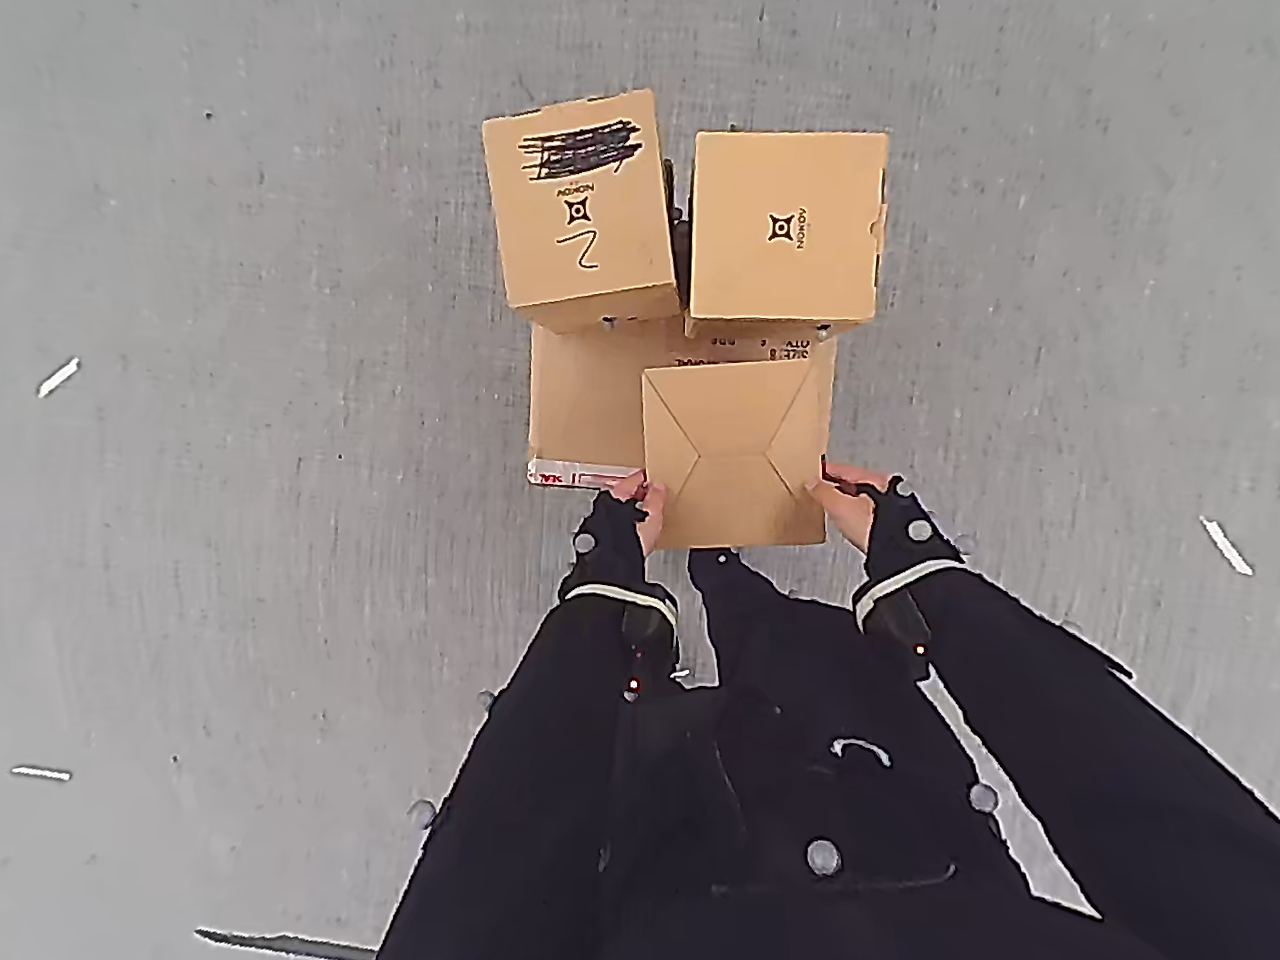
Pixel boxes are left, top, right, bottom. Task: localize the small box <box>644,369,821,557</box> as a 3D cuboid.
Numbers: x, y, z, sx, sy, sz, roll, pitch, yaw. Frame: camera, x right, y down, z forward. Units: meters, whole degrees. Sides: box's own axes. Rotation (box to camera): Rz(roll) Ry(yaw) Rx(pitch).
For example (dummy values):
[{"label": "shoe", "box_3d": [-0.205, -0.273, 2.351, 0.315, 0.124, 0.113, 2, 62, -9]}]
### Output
[{"label": "small box", "box_3d": [0.094, -0.011, 0.594, 0.168, 0.176, 0.179, -3, 88, 5]}]
